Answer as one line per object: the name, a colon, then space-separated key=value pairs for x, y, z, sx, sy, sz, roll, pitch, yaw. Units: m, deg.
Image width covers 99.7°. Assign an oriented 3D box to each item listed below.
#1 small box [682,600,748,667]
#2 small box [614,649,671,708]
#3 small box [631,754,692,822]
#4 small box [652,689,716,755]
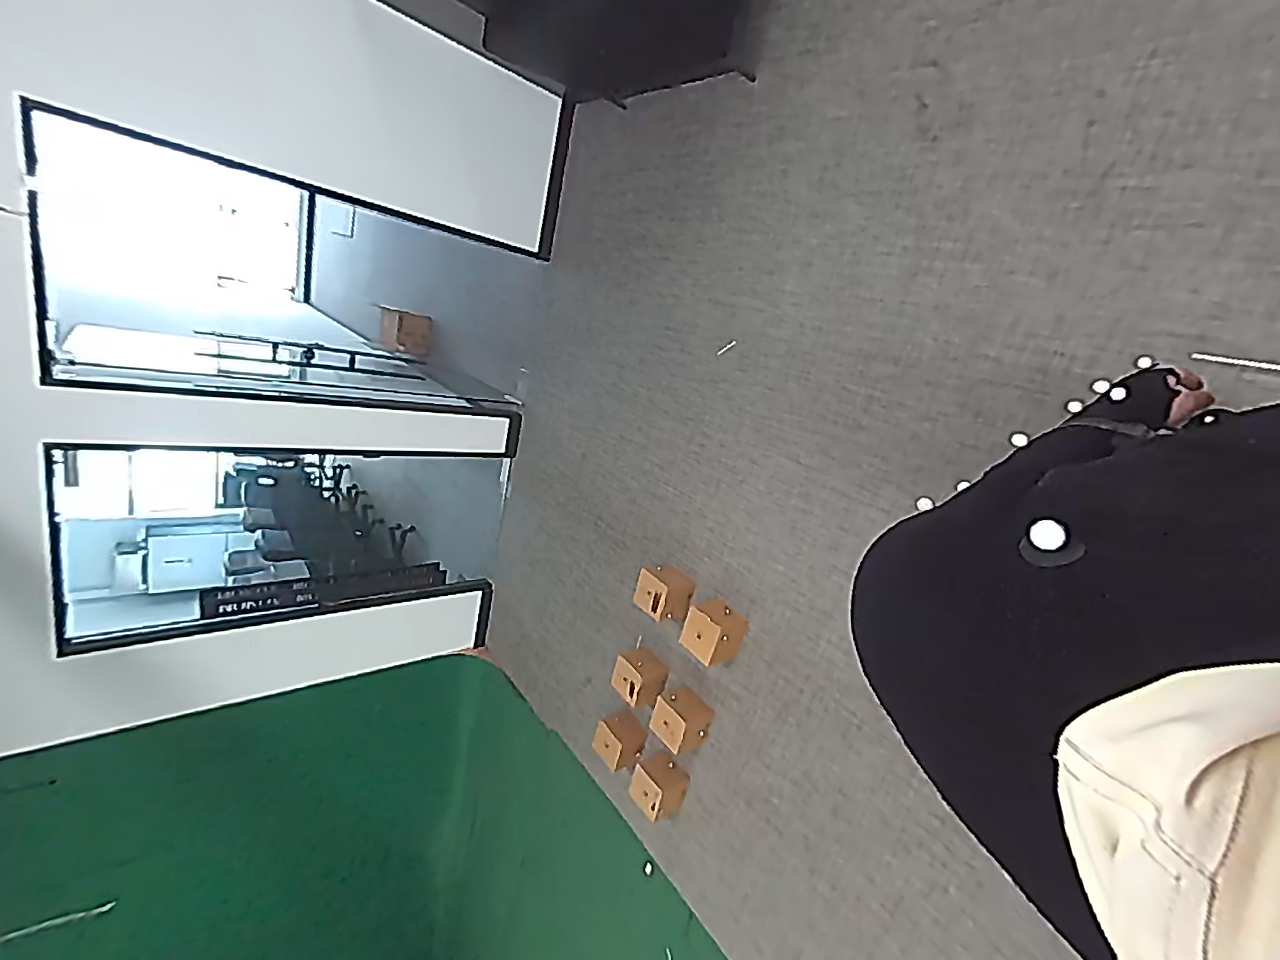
small box: x=0.294 y=0.591 z=2.103 sx=0.168 sy=0.176 sz=0.179 roll=33 pitch=114 yaw=44
small box: x=0.012 y=0.883 z=2.428 sx=0.179 sy=0.176 sz=0.168 roll=33 pitch=114 yaw=45
small box: x=0.094 y=1.321 z=2.338 sx=0.179 sy=0.176 sz=0.168 roll=31 pitch=114 yaw=46
small box: x=0.181 y=0.989 z=2.234 sx=0.179 sy=0.176 sz=0.168 roll=32 pitch=114 yaw=44
